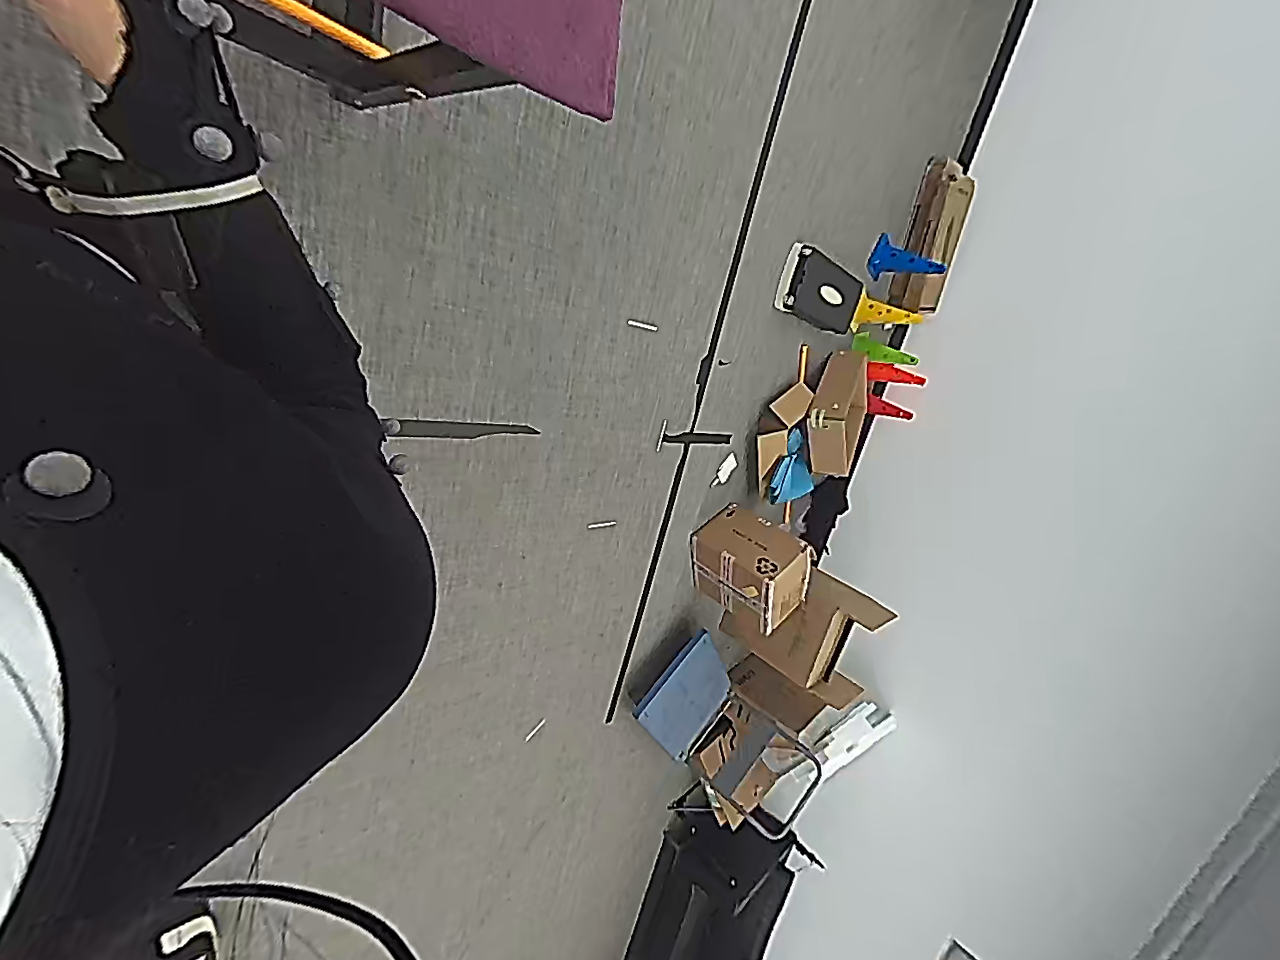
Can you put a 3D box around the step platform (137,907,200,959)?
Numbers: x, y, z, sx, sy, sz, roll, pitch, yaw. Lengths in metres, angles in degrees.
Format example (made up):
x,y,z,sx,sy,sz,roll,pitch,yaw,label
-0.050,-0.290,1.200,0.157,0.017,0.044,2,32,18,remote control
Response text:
x,y,z,sx,sy,sz,roll,pitch,yaw,label
-1.462,1.363,1.260,0.684,0.204,0.286,-5,116,-49,step platform
